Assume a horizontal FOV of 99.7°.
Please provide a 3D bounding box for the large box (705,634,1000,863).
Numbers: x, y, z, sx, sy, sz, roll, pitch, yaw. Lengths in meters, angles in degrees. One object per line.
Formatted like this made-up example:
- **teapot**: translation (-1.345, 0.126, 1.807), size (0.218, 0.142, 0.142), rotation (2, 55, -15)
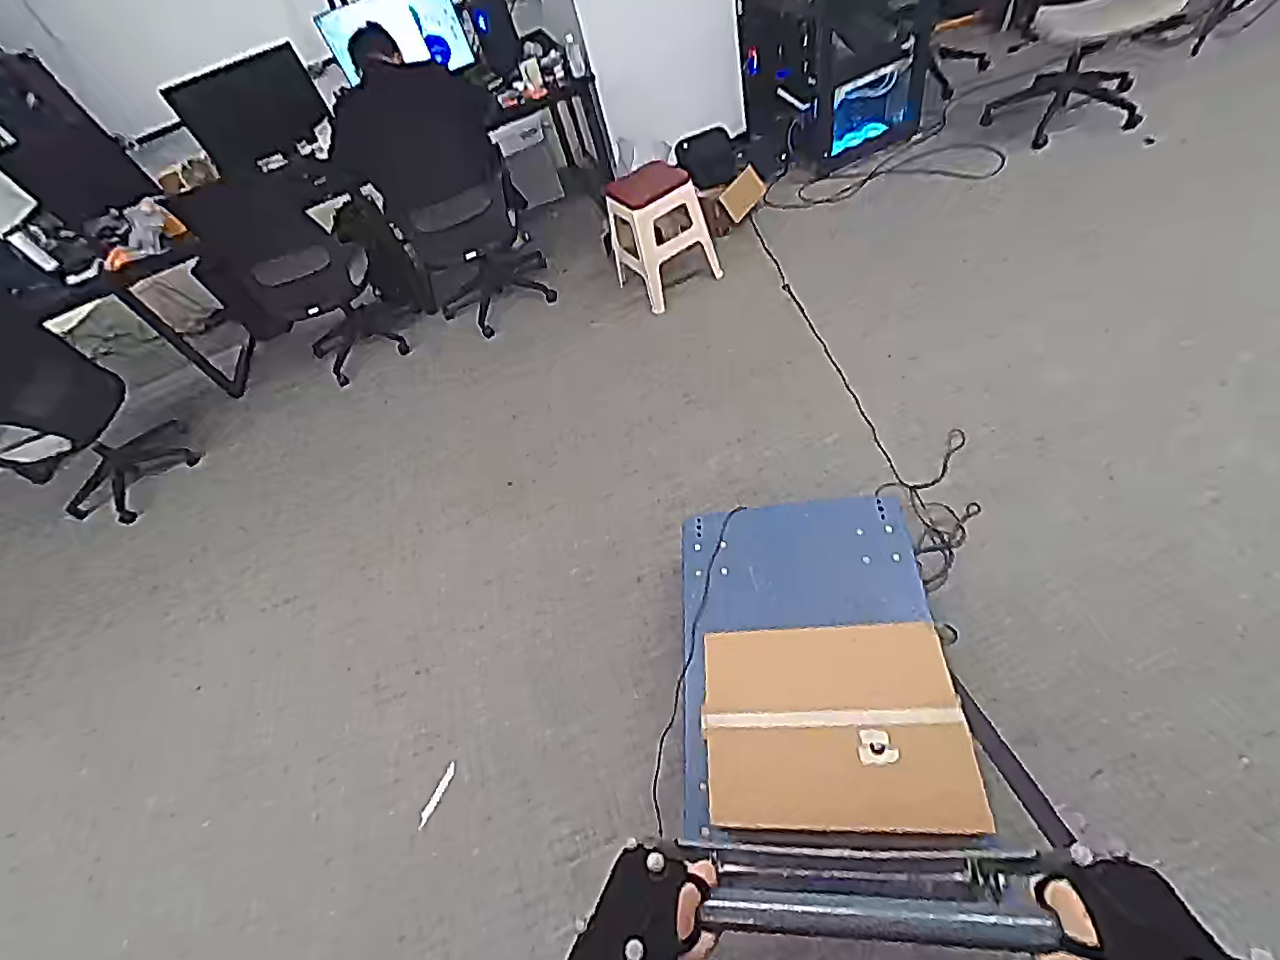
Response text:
- **large box**: translation (0.341, 0.494, 0.981), size (0.408, 0.320, 0.320), rotation (-6, 53, 13)
